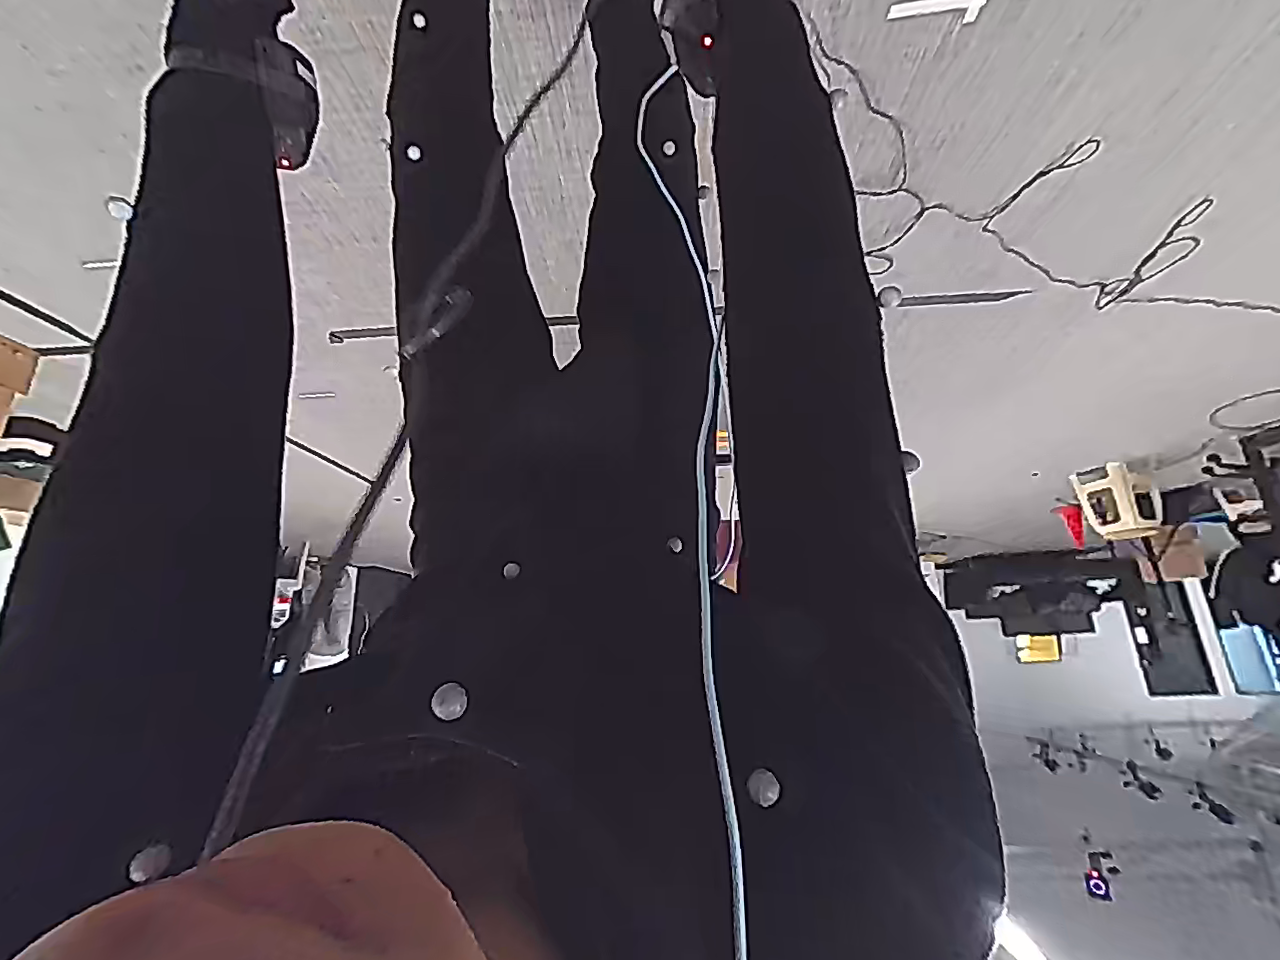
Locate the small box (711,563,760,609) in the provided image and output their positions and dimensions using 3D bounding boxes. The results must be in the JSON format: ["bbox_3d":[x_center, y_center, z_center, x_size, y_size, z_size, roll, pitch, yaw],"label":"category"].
[{"bbox_3d":[0.392,0.445,2.261,0.179,0.176,0.168,-2,164,0],"label":"small box"}]
